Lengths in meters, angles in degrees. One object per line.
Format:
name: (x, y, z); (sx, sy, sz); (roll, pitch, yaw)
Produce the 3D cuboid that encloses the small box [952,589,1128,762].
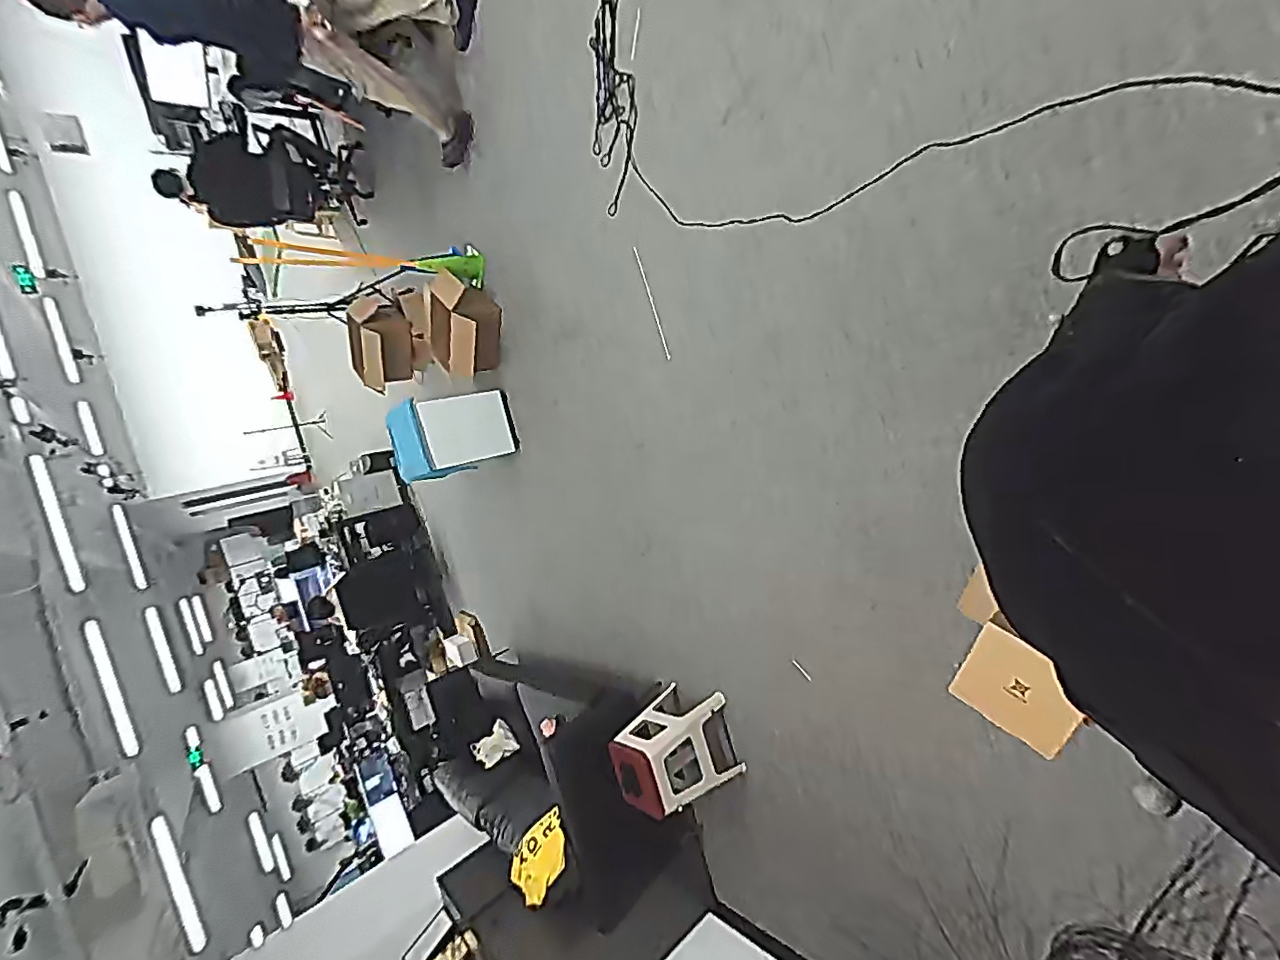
small box: (0.666, 0.312, 0.901); (0.168, 0.176, 0.179); (34, 130, 40)
